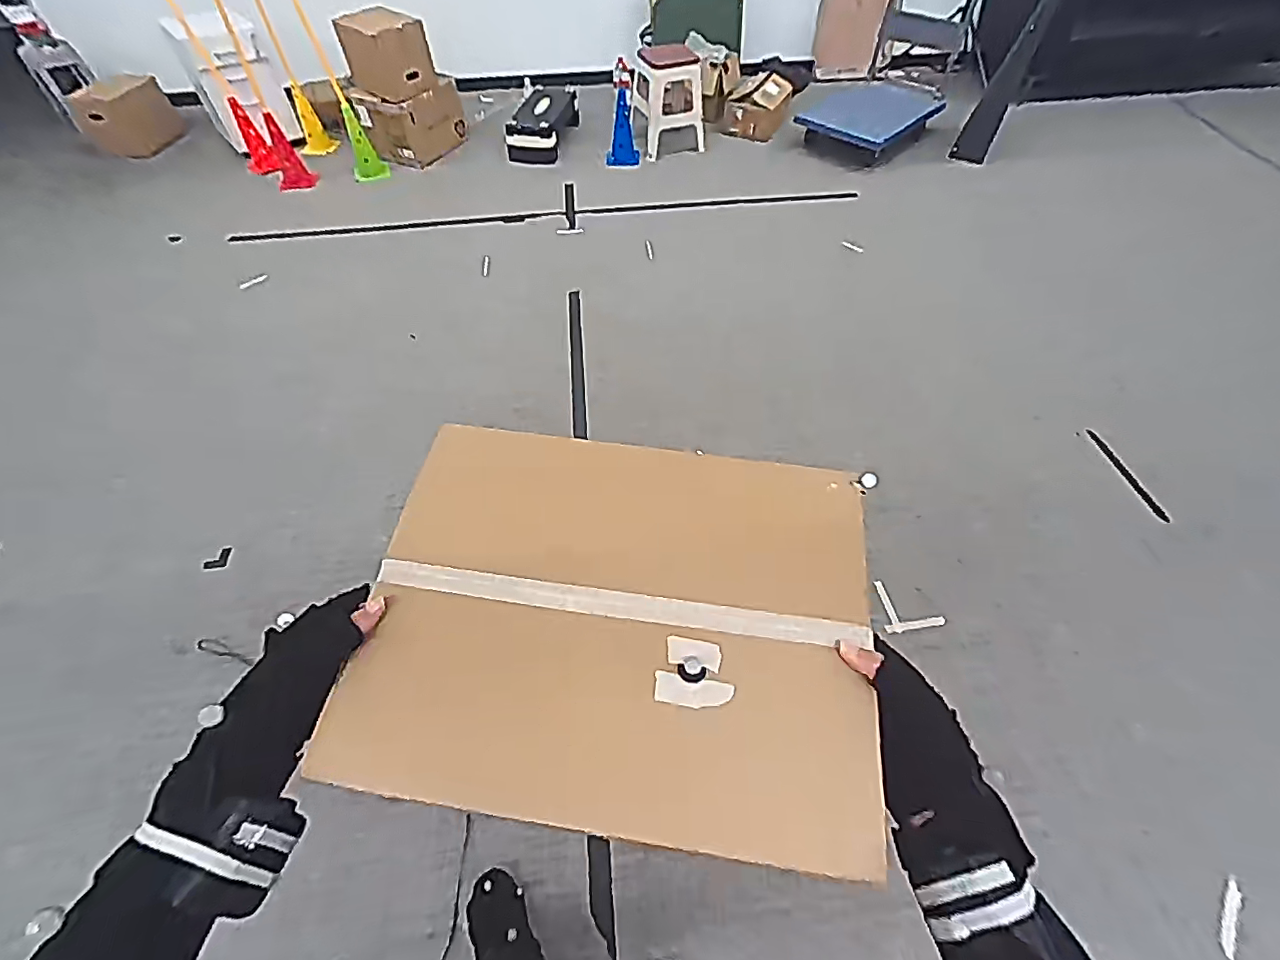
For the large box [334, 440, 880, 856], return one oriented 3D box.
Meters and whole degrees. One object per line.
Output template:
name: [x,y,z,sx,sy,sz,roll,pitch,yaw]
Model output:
large box: [-0.013,0.185,0.586,0.408,0.320,0.320,7,59,5]
